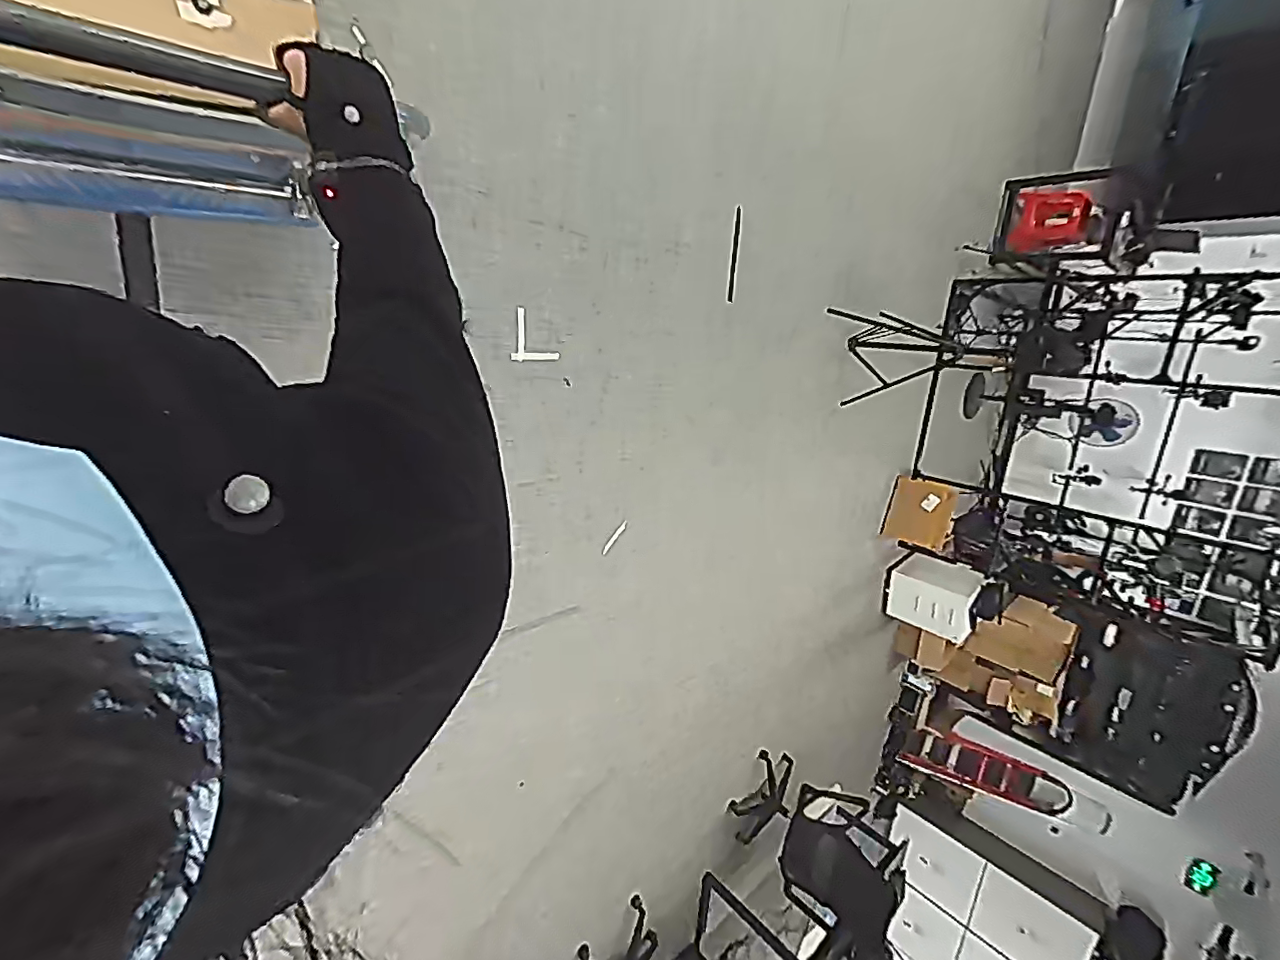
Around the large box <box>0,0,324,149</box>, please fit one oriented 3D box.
[{"bbox_3d":[-0.741,-0.694,0.765,0.408,0.320,0.320,-19,117,-40],"label":"large box"}]
